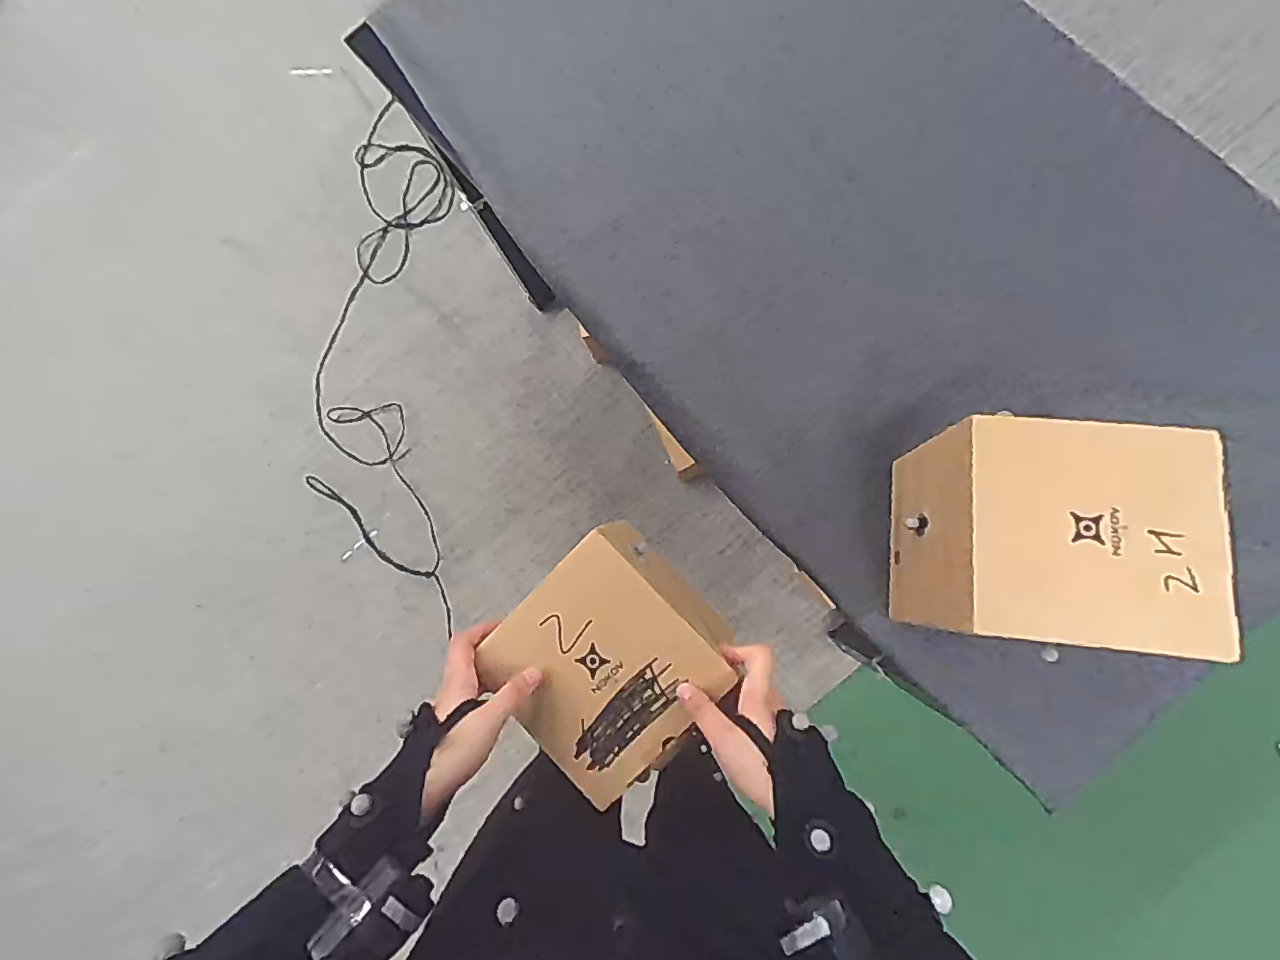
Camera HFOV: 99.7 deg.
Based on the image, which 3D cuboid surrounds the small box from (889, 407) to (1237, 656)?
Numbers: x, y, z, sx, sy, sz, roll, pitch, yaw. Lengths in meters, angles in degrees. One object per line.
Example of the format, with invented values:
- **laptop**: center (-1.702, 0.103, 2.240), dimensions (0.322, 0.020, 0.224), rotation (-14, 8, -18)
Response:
- **small box**: center (0.331, 0.047, 0.464), dimensions (0.179, 0.176, 0.168), rotation (5, 80, 6)

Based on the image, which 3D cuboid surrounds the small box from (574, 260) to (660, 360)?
- **small box**: center (-0.051, -0.403, 1.311), dimensions (0.179, 0.176, 0.168), rotation (-8, 81, 4)

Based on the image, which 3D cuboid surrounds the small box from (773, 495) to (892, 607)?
- **small box**: center (0.412, 0.155, 1.184), dimensions (0.168, 0.176, 0.179), rotation (-35, 81, 1)

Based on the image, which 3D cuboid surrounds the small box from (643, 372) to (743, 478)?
- **small box**: center (0.123, -0.117, 1.252), dimensions (0.168, 0.176, 0.179), rotation (-27, 79, 1)
